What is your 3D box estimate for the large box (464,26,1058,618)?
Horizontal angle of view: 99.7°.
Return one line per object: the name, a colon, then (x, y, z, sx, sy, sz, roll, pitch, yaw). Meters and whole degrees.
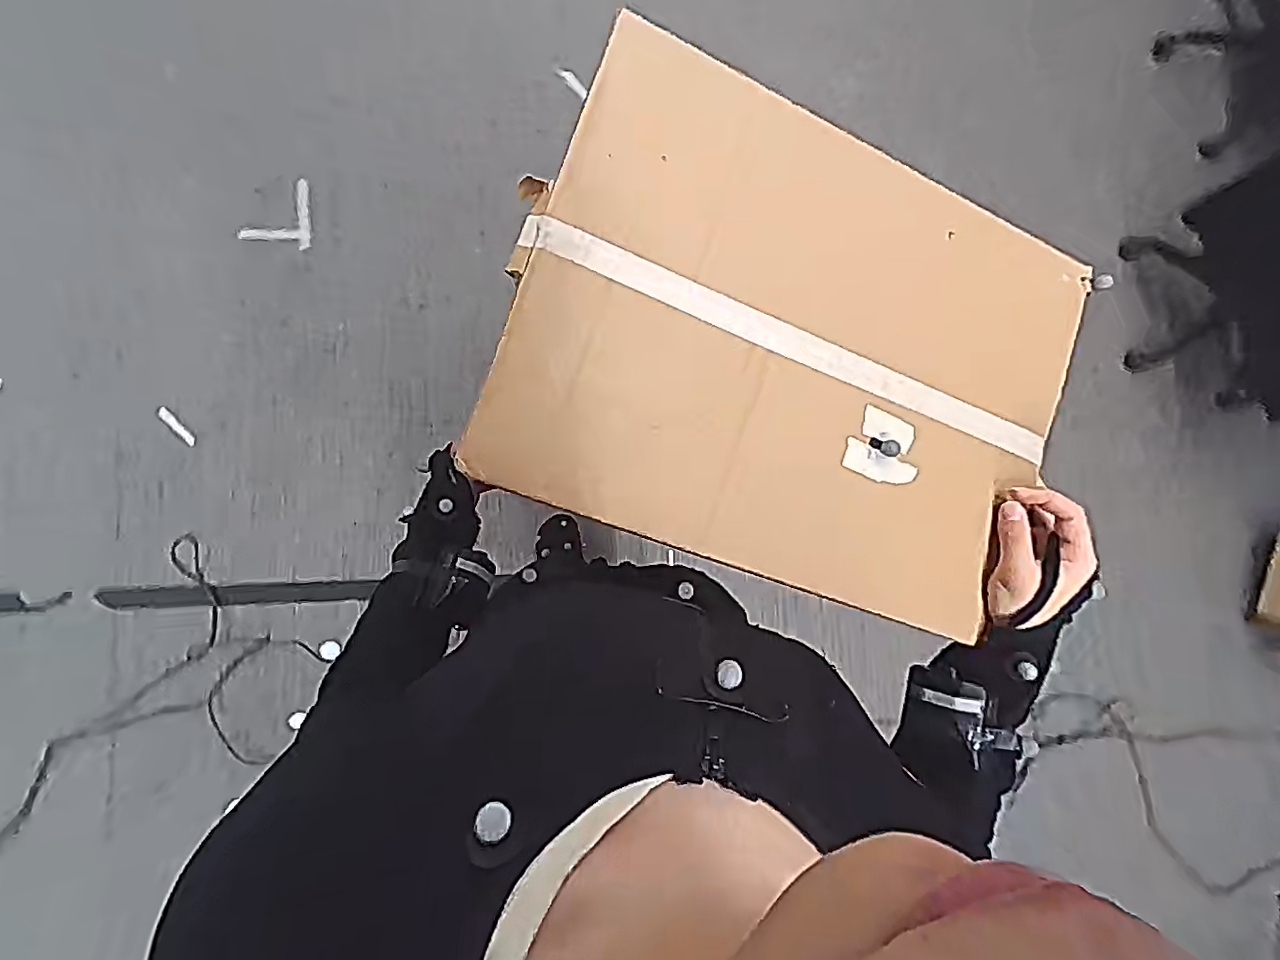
large box: (0.078, -0.094, 0.527, 0.408, 0.320, 0.320, 19, 87, -14)
